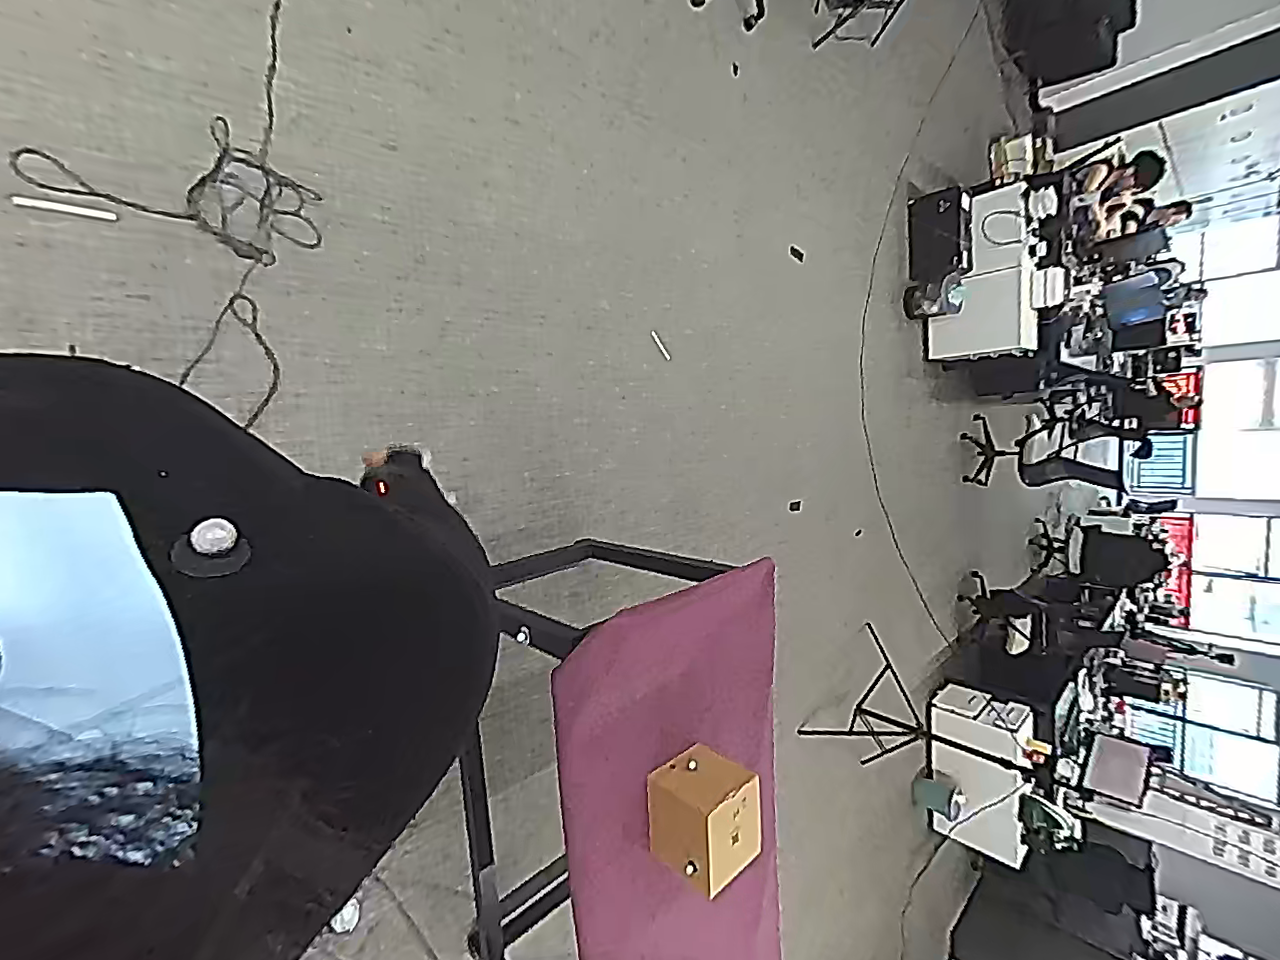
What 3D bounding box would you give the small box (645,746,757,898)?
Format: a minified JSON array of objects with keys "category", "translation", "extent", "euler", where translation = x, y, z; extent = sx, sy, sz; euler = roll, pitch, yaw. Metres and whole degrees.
[{"category":"small box","translation":[0.125,0.698,1.127],"extent":[0.168,0.176,0.179],"euler":[-7,97,-43]}]
